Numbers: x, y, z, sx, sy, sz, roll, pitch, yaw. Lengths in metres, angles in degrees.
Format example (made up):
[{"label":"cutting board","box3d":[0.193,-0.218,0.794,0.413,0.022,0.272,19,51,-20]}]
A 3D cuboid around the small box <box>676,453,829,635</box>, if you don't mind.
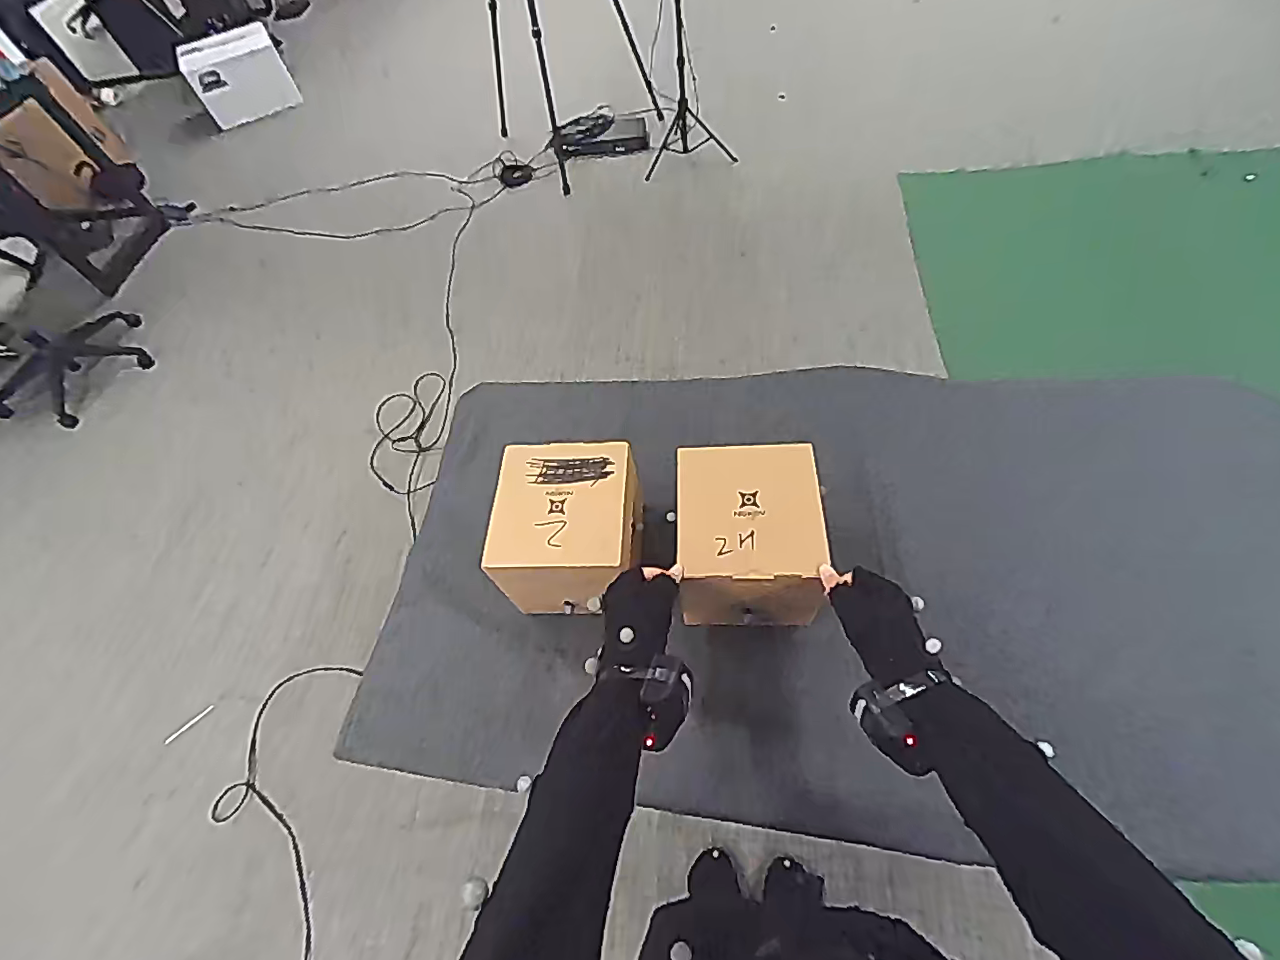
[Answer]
[{"label":"small box","box3d":[0.133,0.085,0.690,0.168,0.176,0.179,-2,57,8]}]
